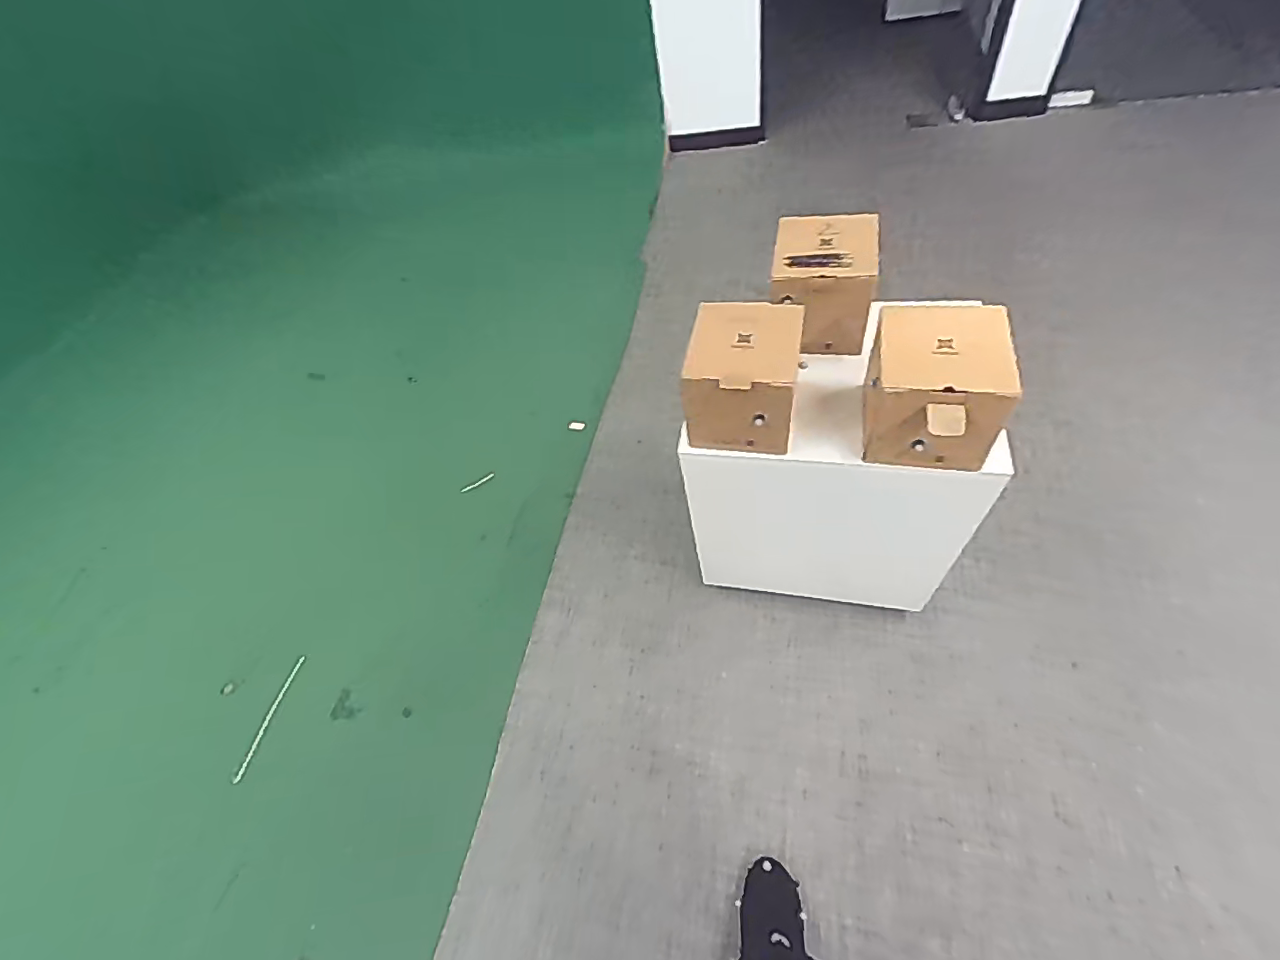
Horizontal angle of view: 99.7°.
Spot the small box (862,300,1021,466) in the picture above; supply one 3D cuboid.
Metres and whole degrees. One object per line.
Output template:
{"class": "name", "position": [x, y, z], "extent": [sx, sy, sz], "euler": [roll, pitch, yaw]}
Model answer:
{"class": "small box", "position": [0.431, -0.144, 0.805], "extent": [0.168, 0.176, 0.179], "euler": [5, 57, 16]}

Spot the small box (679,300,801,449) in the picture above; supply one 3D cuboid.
{"class": "small box", "position": [0.166, -0.169, 0.880], "extent": [0.168, 0.176, 0.179], "euler": [6, 56, 14]}
